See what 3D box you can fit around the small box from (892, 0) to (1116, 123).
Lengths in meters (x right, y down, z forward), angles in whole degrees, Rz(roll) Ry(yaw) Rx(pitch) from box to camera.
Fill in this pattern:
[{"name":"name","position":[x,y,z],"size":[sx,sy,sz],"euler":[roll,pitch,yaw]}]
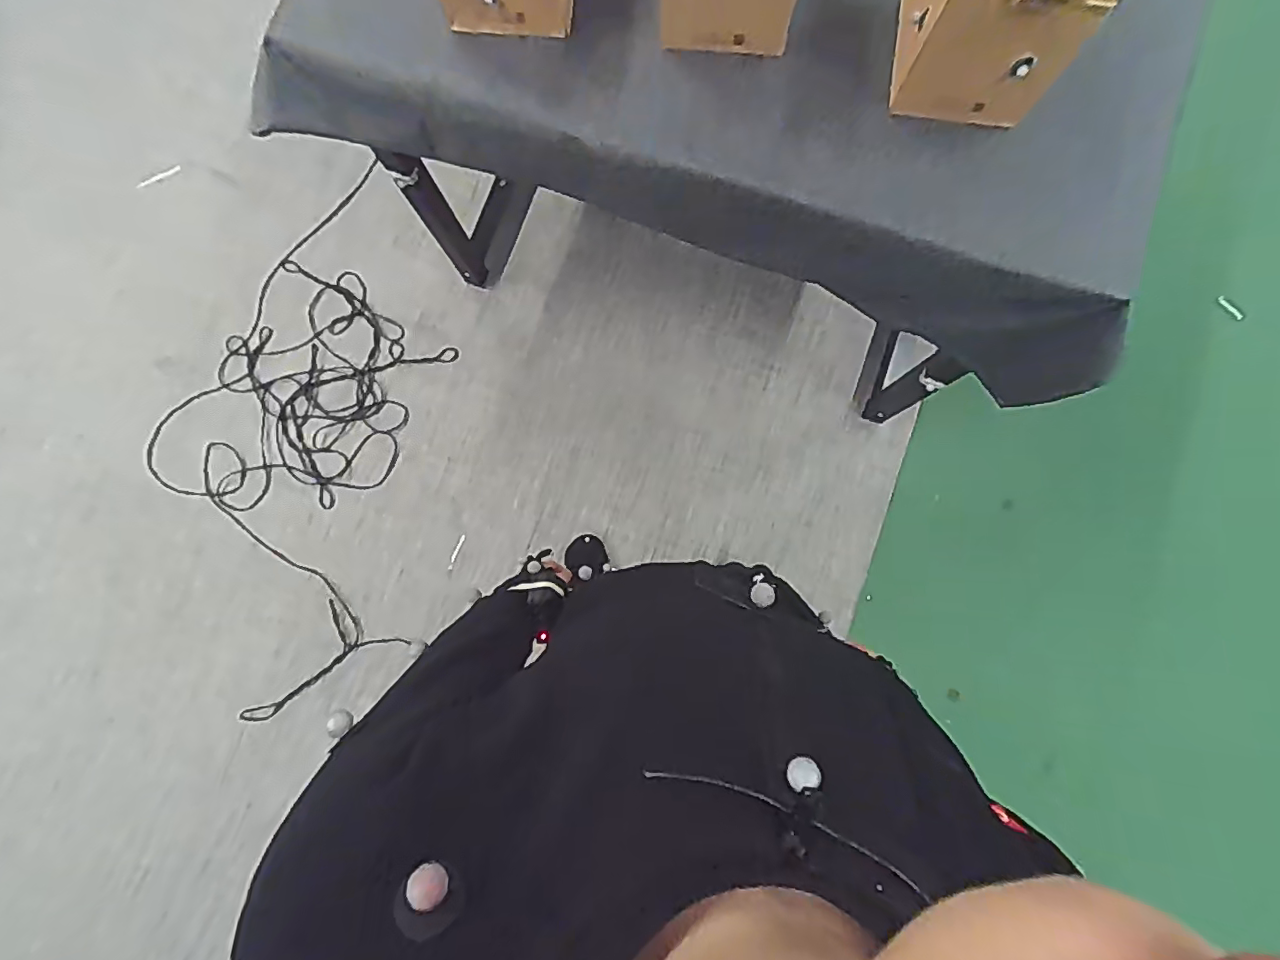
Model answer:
[{"name":"small box","position":[0.419,-0.566,0.641],"size":[0.168,0.176,0.179],"euler":[9,82,2]}]

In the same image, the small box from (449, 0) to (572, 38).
[{"name":"small box","position":[-0.172,-0.710,0.674],"size":[0.168,0.176,0.179],"euler":[4,83,2]}]
